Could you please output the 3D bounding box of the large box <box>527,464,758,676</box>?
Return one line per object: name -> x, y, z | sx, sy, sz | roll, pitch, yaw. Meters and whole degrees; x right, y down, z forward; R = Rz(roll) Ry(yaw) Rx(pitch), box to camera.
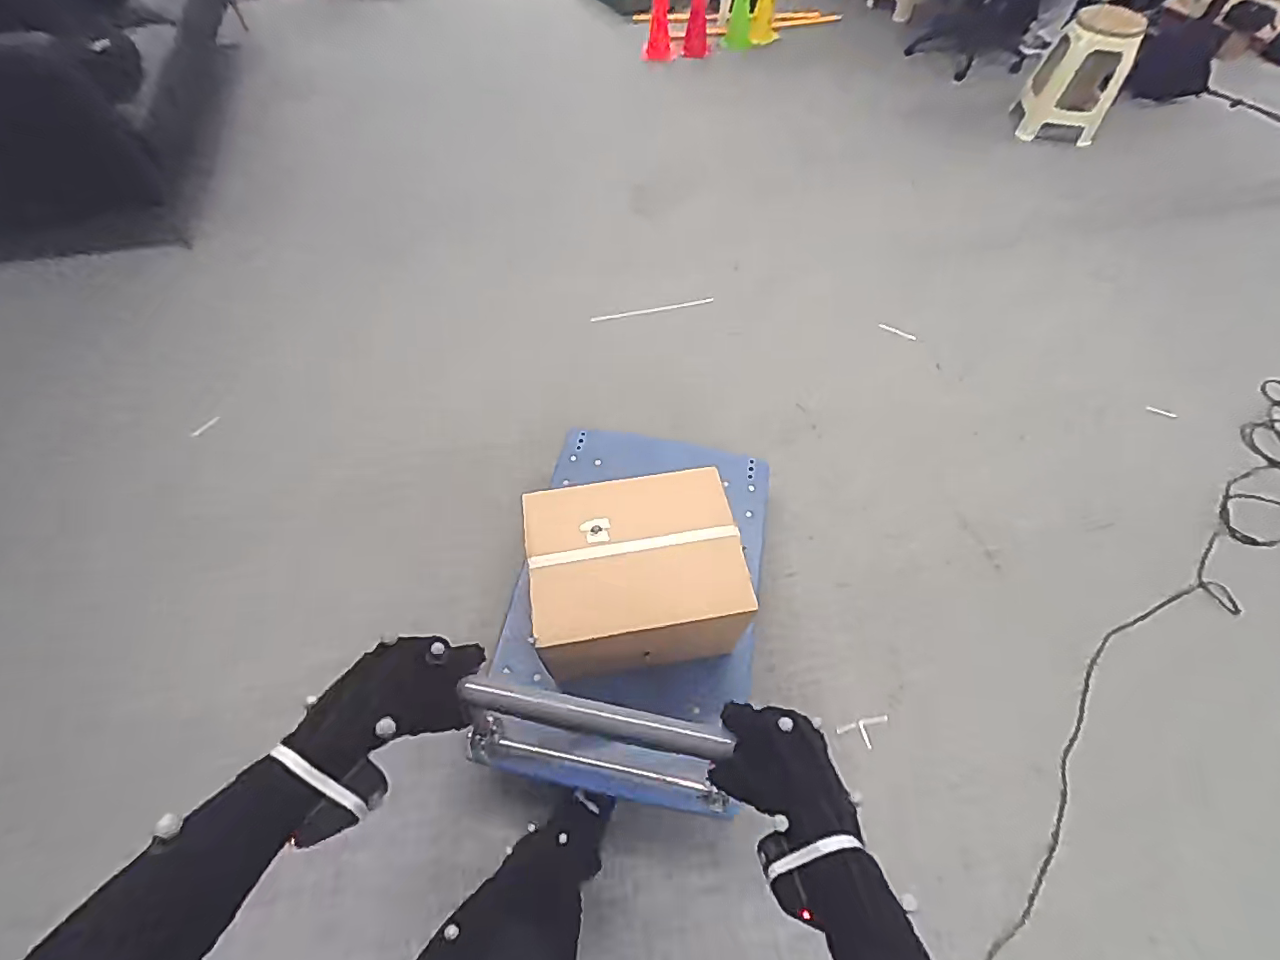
large box -> -0.005, 0.203, 1.160 | 0.408, 0.320, 0.320 | -9, 59, -5
